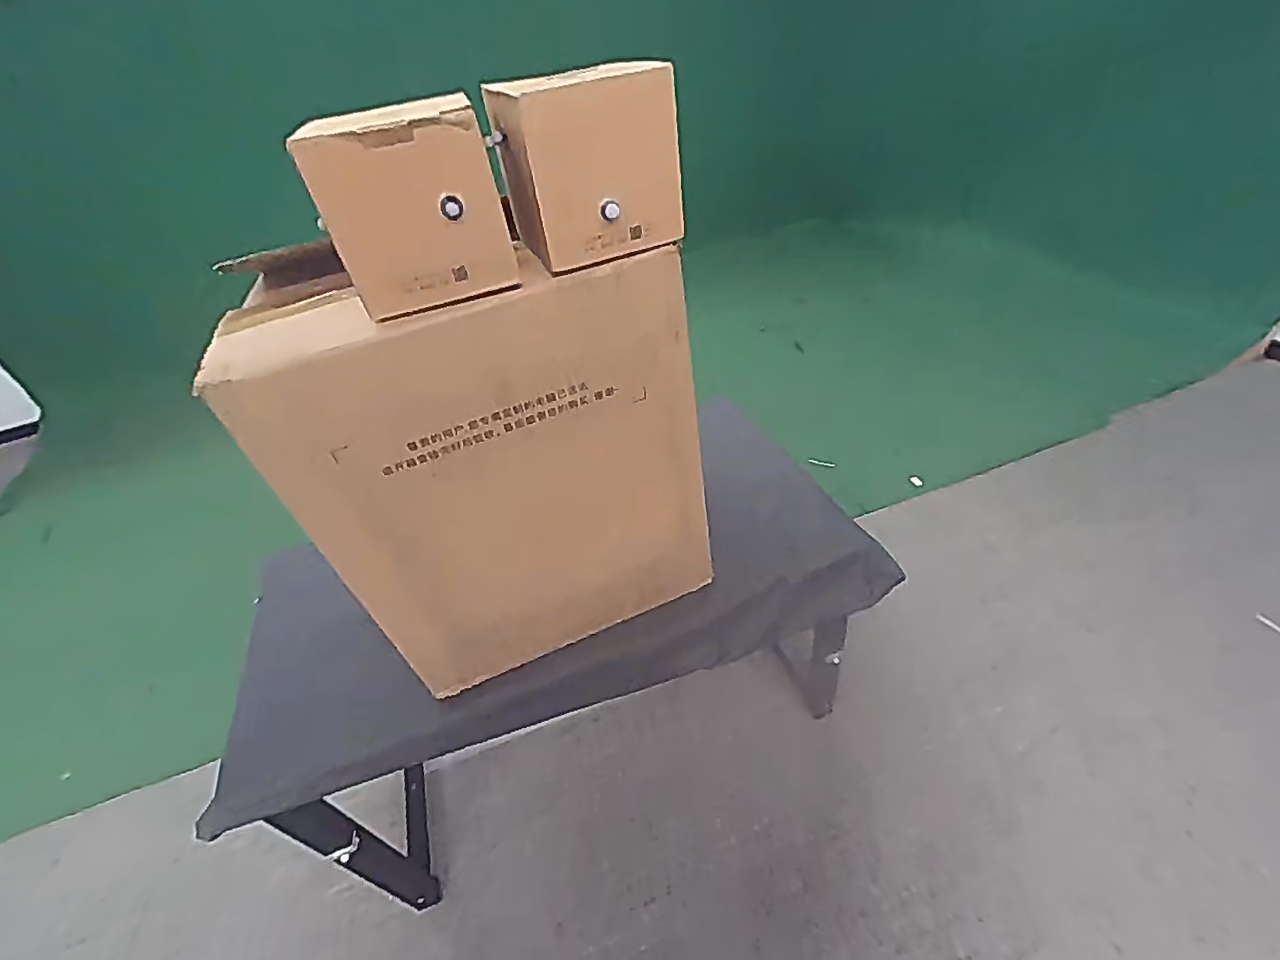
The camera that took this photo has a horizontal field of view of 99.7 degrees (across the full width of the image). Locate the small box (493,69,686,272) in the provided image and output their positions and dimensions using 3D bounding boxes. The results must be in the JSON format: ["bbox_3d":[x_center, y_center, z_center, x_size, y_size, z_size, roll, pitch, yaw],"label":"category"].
[{"bbox_3d":[-0.057,-0.362,0.631,0.168,0.176,0.179,-20,42,-12],"label":"small box"}]
